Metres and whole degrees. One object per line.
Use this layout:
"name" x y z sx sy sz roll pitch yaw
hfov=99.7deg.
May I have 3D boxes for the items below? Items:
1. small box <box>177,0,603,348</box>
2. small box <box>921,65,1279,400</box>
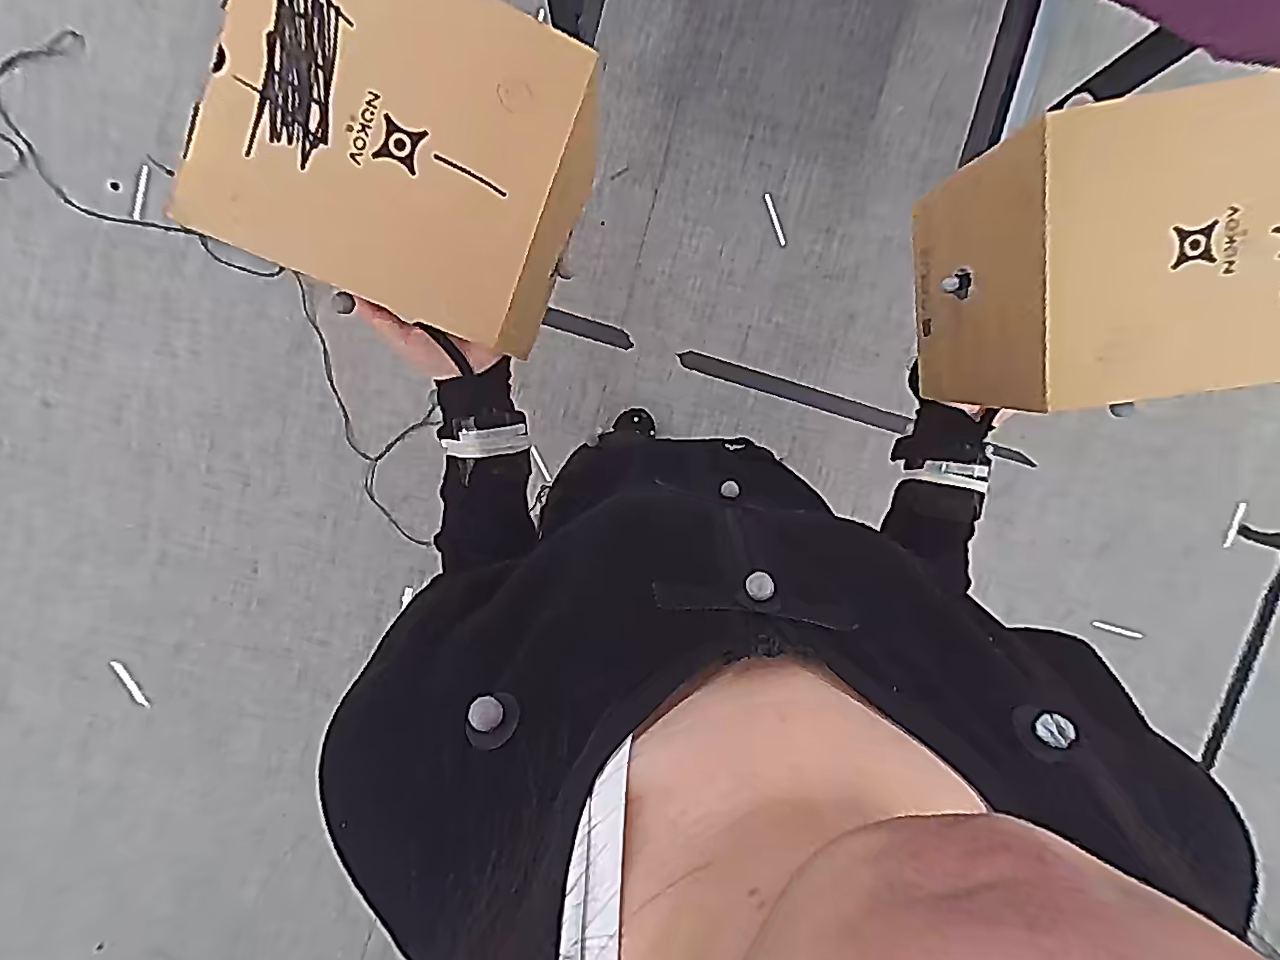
"small box" -0.136 -0.194 0.357 0.179 0.176 0.168 21 98 -10
"small box" 0.317 -0.151 0.380 0.179 0.176 0.168 -8 102 4
